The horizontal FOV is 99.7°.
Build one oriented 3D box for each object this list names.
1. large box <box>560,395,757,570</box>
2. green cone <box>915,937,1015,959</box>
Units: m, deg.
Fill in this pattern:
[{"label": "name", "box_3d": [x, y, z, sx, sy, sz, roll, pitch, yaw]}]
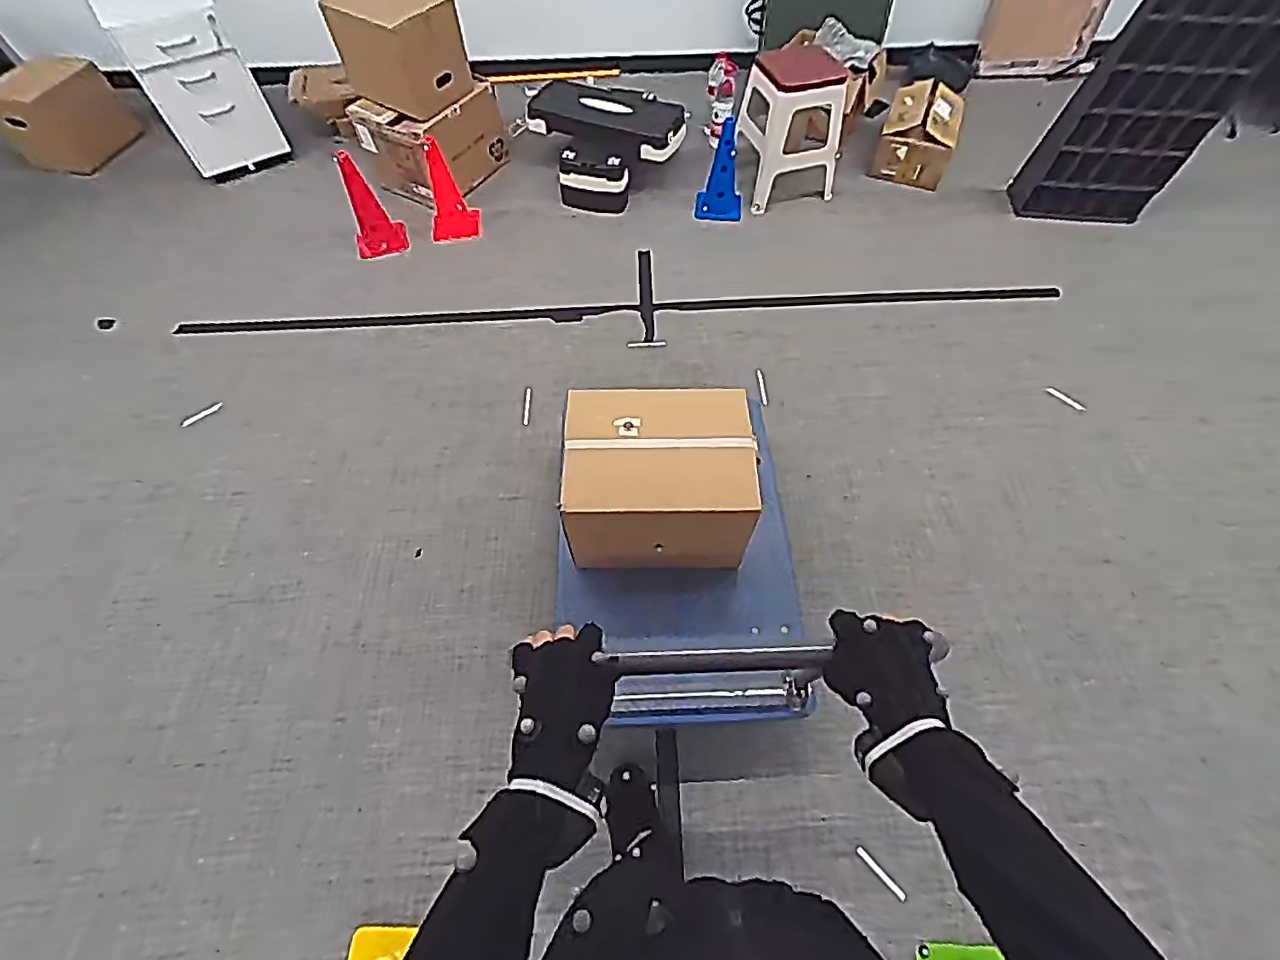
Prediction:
[{"label": "large box", "box_3d": [0.039, 0.017, 1.288, 0.408, 0.320, 0.320, -1, 60, 1]}, {"label": "green cone", "box_3d": [0.651, 0.927, 0.898, 0.202, 0.368, 0.200, 2, 59, 0]}]
